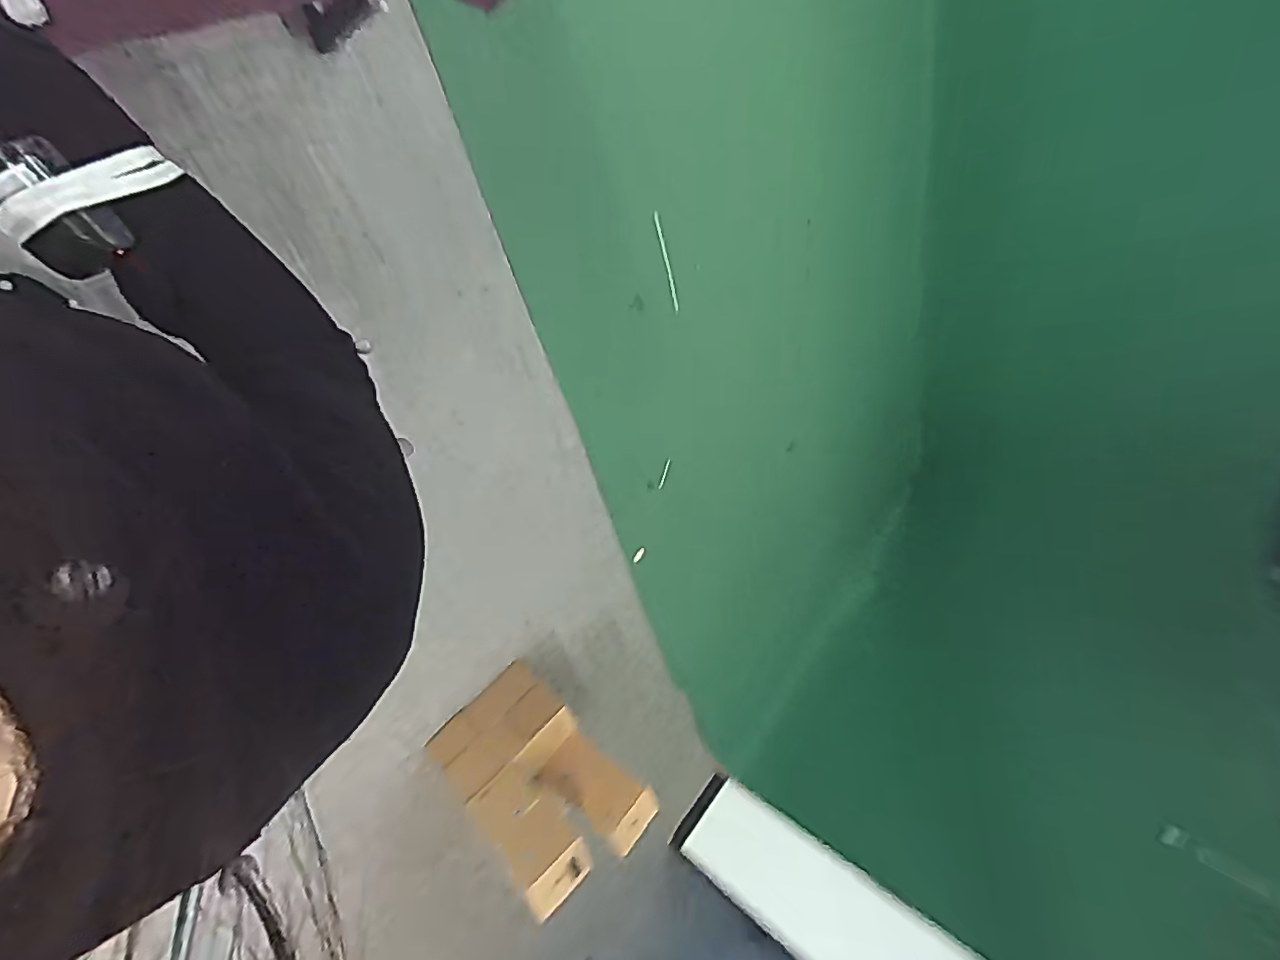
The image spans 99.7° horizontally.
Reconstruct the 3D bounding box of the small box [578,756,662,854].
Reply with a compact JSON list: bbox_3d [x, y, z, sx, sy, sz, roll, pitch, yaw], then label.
[{"bbox_3d":[-0.063,1.017,1.703,0.179,0.176,0.168,-42,132,-28],"label":"small box"}]

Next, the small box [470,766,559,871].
[{"bbox_3d":[-0.373,0.998,1.608,0.168,0.176,0.179,-37,129,-32],"label":"small box"}]

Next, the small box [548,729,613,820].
[{"bbox_3d":[-0.185,0.978,1.805,0.179,0.176,0.168,-44,133,-29],"label":"small box"}]
